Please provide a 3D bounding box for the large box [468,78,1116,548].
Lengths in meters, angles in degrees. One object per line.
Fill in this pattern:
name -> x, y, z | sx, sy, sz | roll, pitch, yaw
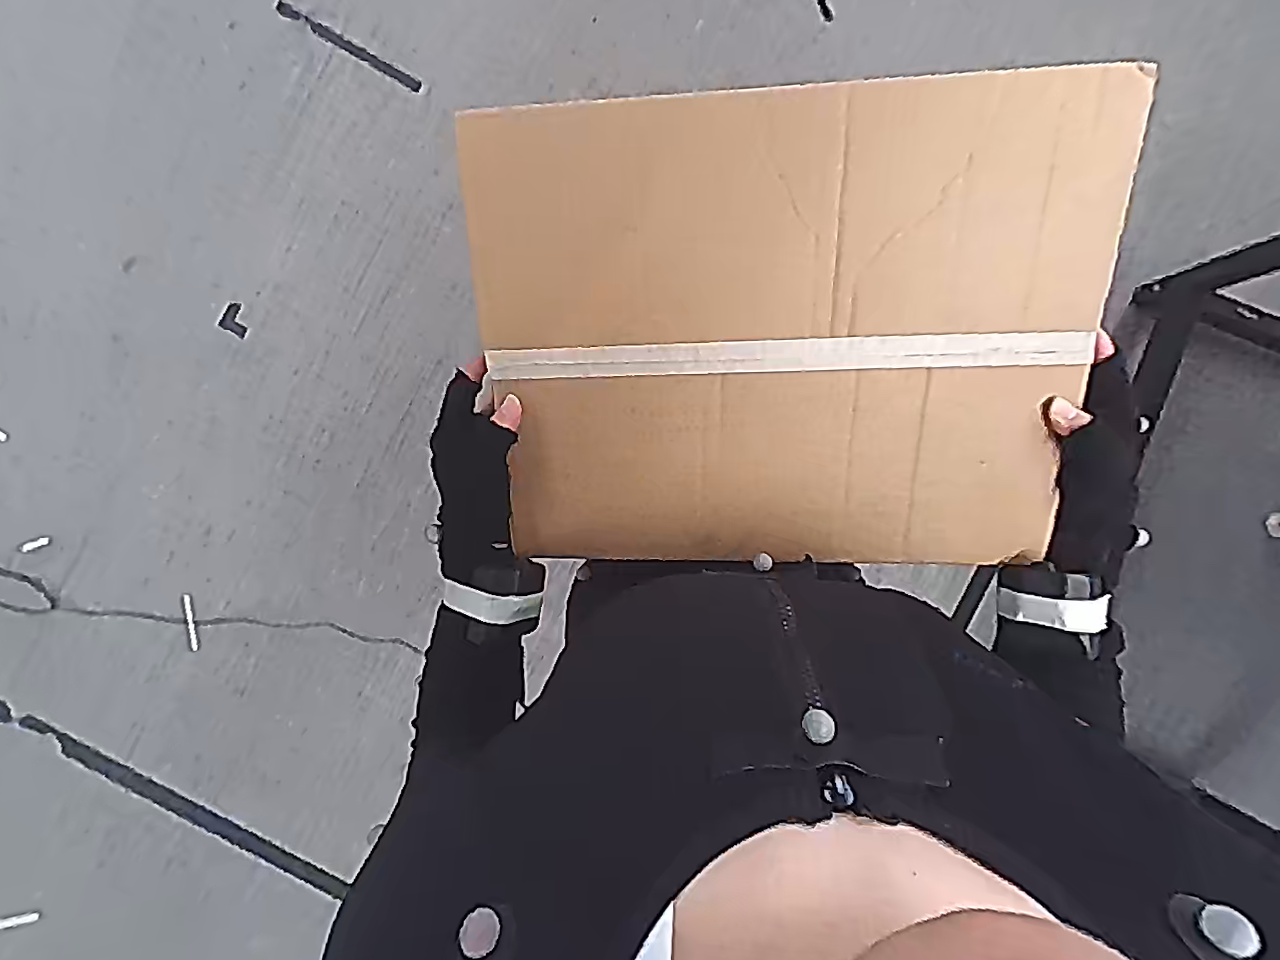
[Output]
large box -> 0.100, -0.141, 0.524 | 0.408, 0.320, 0.320 | 0, 111, 5
